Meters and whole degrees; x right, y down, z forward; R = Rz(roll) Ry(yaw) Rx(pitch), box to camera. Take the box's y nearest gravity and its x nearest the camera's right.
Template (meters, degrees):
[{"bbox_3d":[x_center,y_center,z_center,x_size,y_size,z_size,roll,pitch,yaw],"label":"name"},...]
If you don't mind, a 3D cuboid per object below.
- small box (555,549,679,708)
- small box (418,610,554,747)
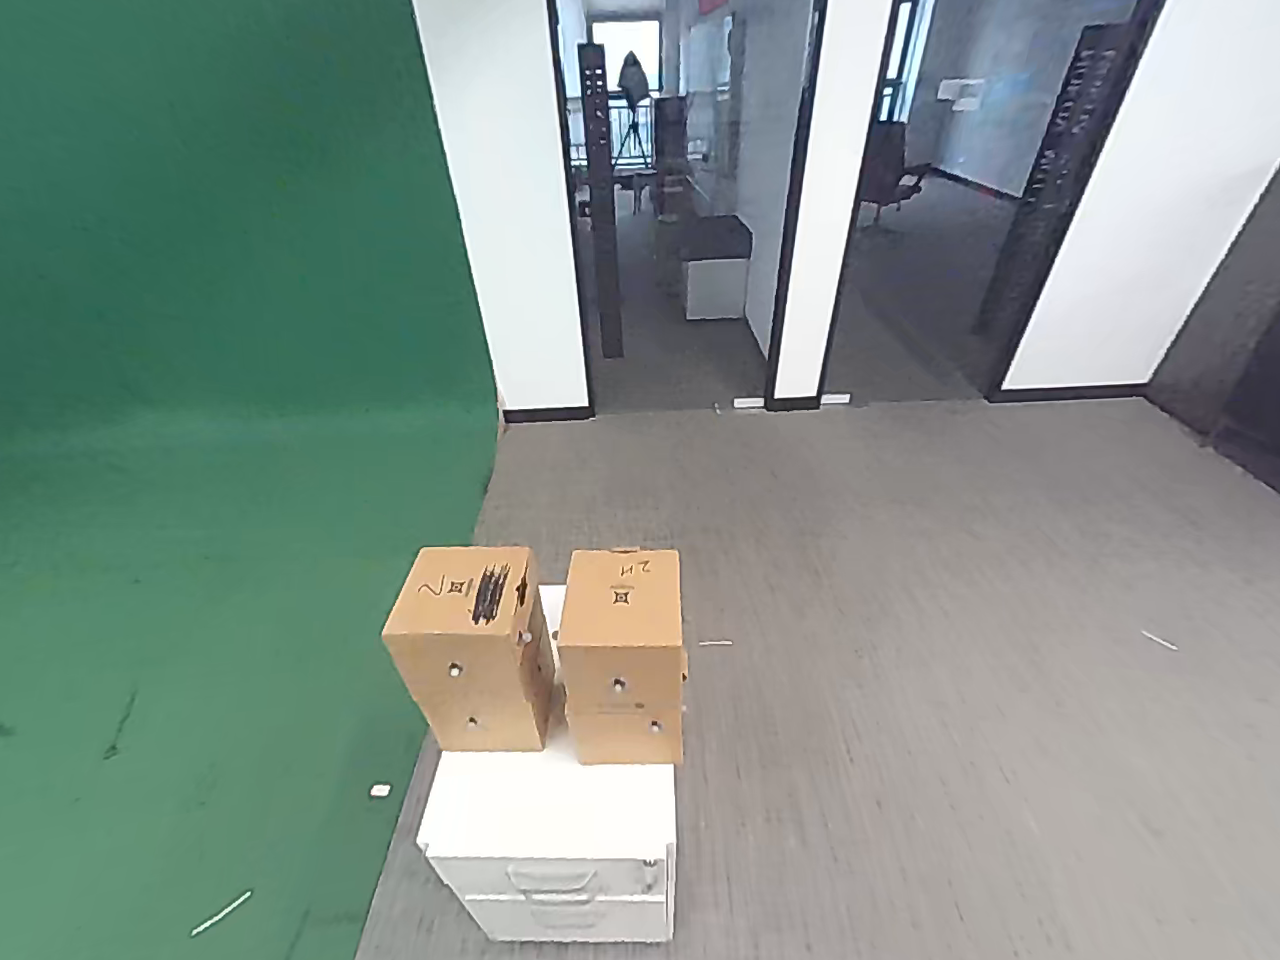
[{"bbox_3d":[-0.024,0.223,0.814,0.168,0.176,0.179,0,38,2],"label":"small box"},{"bbox_3d":[-0.253,0.344,0.936,0.179,0.176,0.168,0,39,0],"label":"small box"}]
